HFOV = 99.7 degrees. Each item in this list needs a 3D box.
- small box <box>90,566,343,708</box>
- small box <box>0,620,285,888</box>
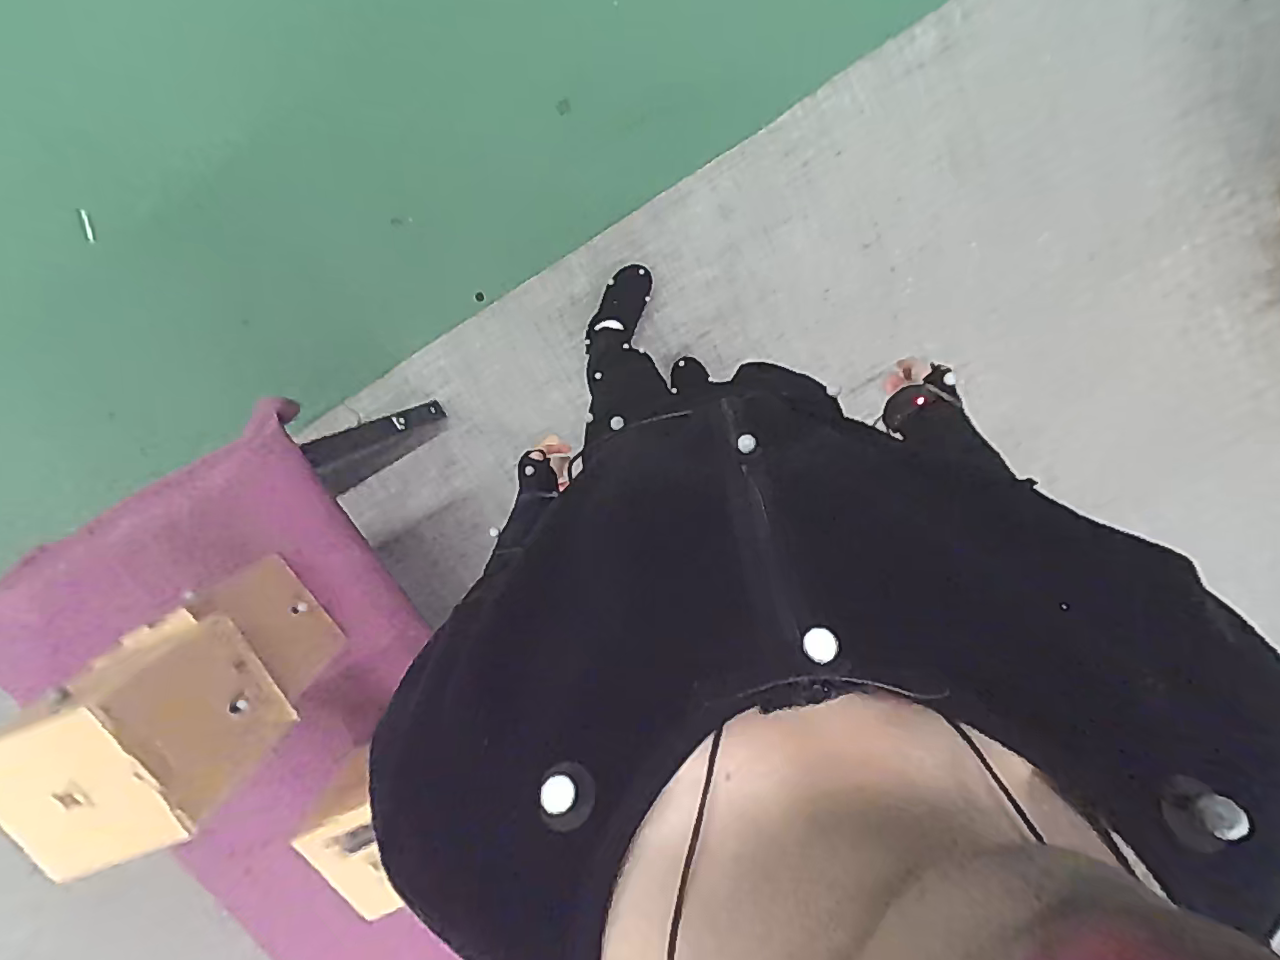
[{"bbox_3d":[-0.564,0.240,0.747,0.168,0.176,0.179,-29,102,10],"label":"small box"},{"bbox_3d":[-0.546,0.284,0.589,0.179,0.176,0.168,-22,103,7],"label":"small box"}]
